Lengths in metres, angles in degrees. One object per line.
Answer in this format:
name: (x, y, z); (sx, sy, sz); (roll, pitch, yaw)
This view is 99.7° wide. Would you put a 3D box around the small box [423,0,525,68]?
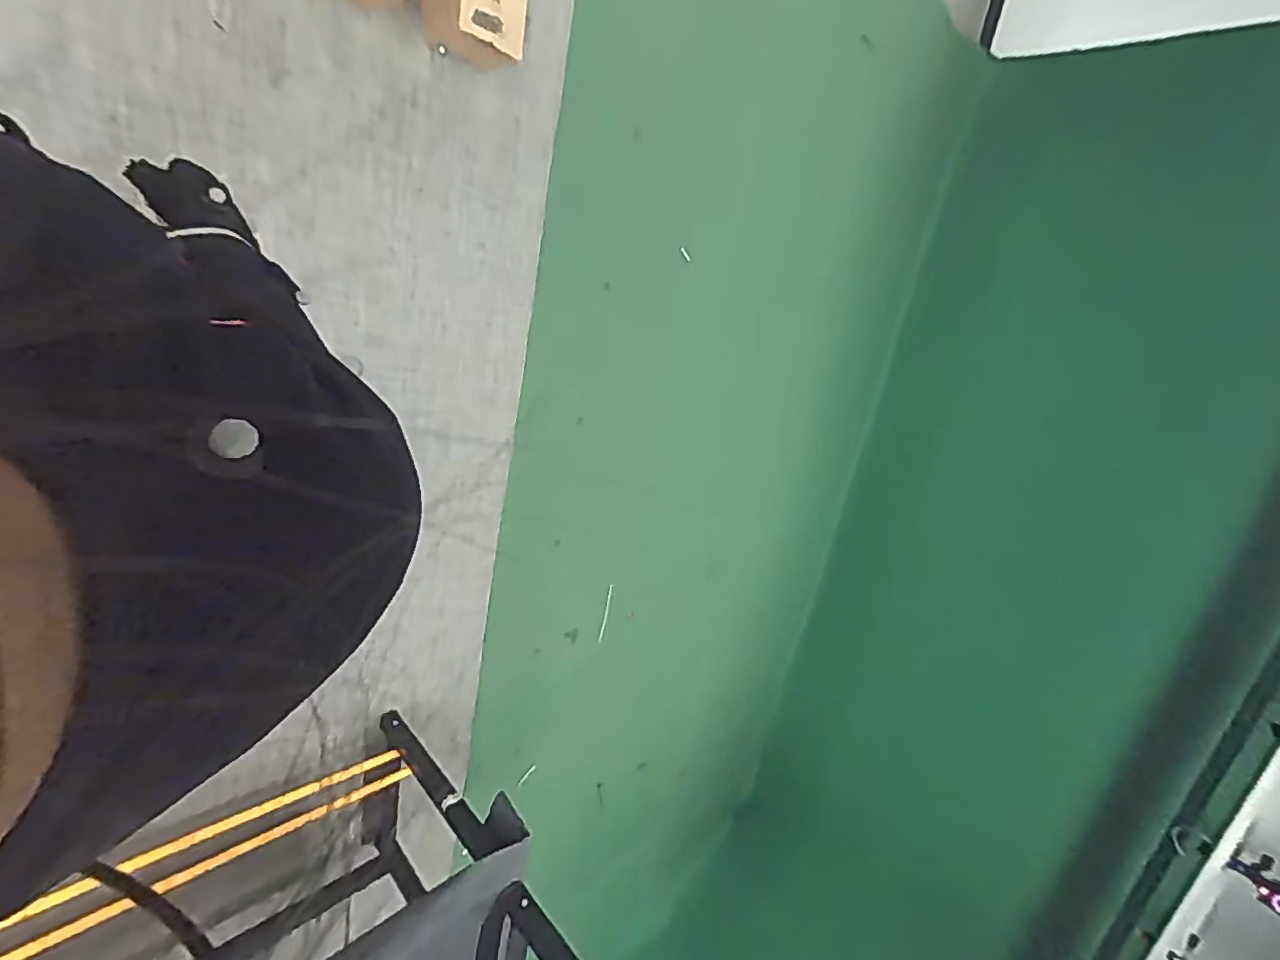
small box: (-0.389, -1.101, 1.260); (0.168, 0.176, 0.179); (-7, 114, -48)
